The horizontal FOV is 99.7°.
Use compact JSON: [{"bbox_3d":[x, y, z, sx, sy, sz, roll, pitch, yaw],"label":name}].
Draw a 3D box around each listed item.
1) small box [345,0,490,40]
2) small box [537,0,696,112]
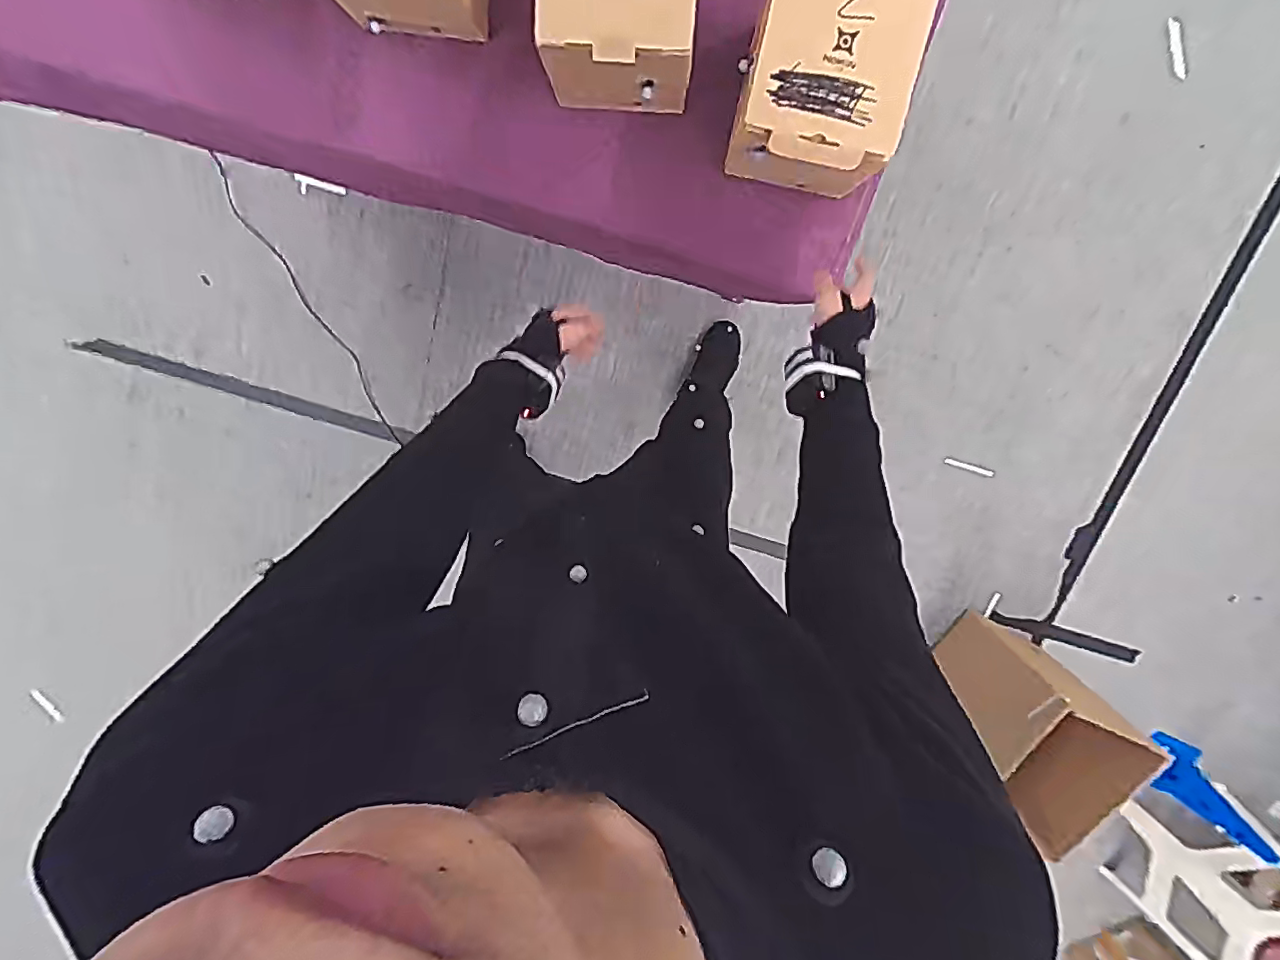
[{"bbox_3d":[-0.268,-0.633,0.599,0.168,0.176,0.179,6,105,-1],"label":"small box"},{"bbox_3d":[-0.019,-0.552,0.619,0.168,0.176,0.179,4,105,0],"label":"small box"}]
